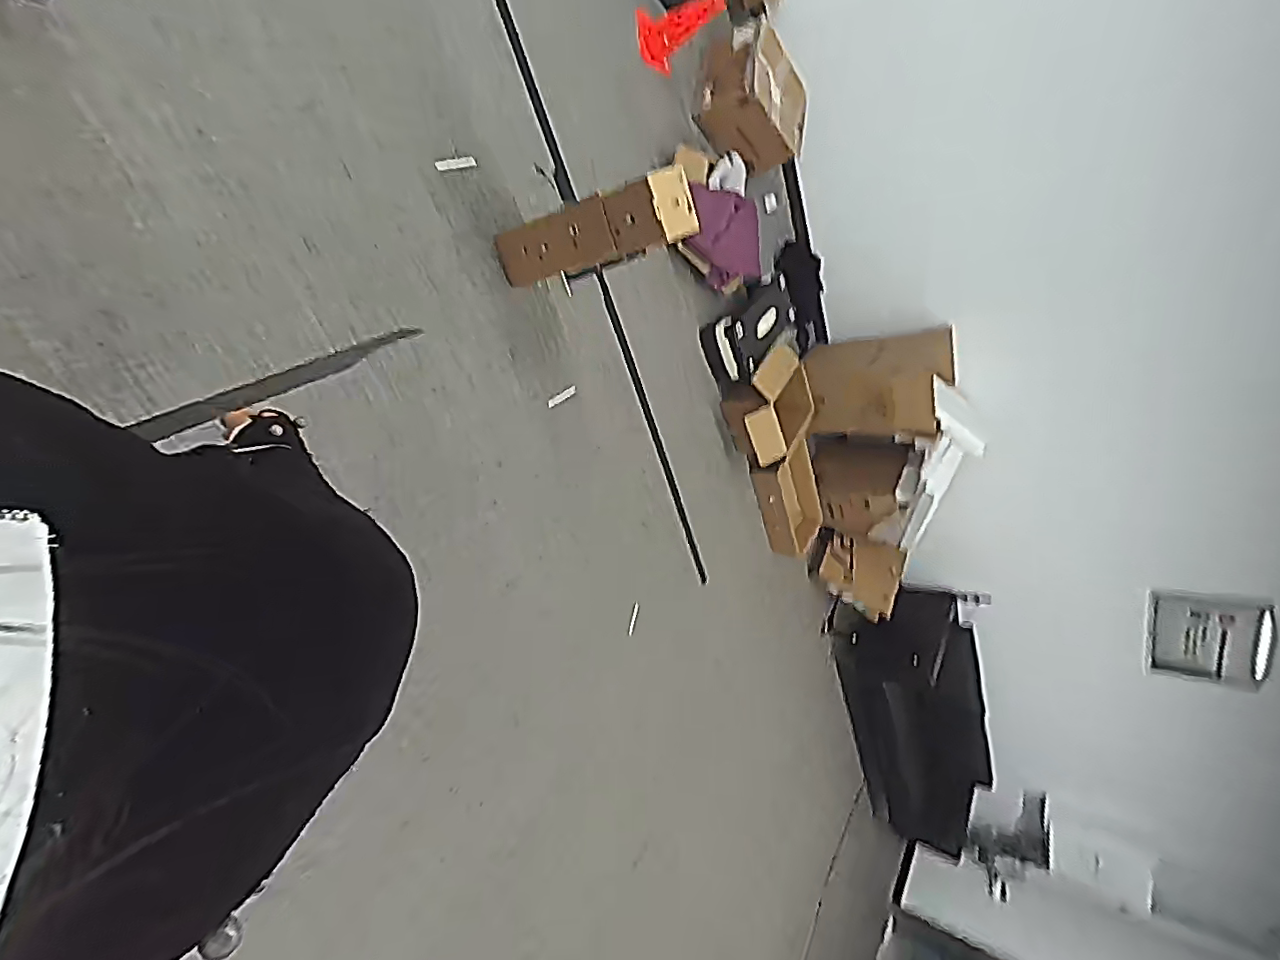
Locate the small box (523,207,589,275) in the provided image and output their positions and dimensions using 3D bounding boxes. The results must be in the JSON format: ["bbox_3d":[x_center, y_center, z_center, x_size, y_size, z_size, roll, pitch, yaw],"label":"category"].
[{"bbox_3d":[-0.234,-0.757,1.700,0.179,0.176,0.168,-38,119,-42],"label":"small box"}]

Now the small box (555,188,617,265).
[{"bbox_3d":[-0.117,-0.745,1.586,0.179,0.176,0.168,-37,118,-41],"label":"small box"}]

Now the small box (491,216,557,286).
[{"bbox_3d":[-0.364,-0.766,1.800,0.168,0.176,0.179,-38,120,-42],"label":"small box"}]

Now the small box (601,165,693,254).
[{"bbox_3d":[0.015,-0.740,1.488,0.179,0.176,0.168,-42,122,-40],"label":"small box"}]
